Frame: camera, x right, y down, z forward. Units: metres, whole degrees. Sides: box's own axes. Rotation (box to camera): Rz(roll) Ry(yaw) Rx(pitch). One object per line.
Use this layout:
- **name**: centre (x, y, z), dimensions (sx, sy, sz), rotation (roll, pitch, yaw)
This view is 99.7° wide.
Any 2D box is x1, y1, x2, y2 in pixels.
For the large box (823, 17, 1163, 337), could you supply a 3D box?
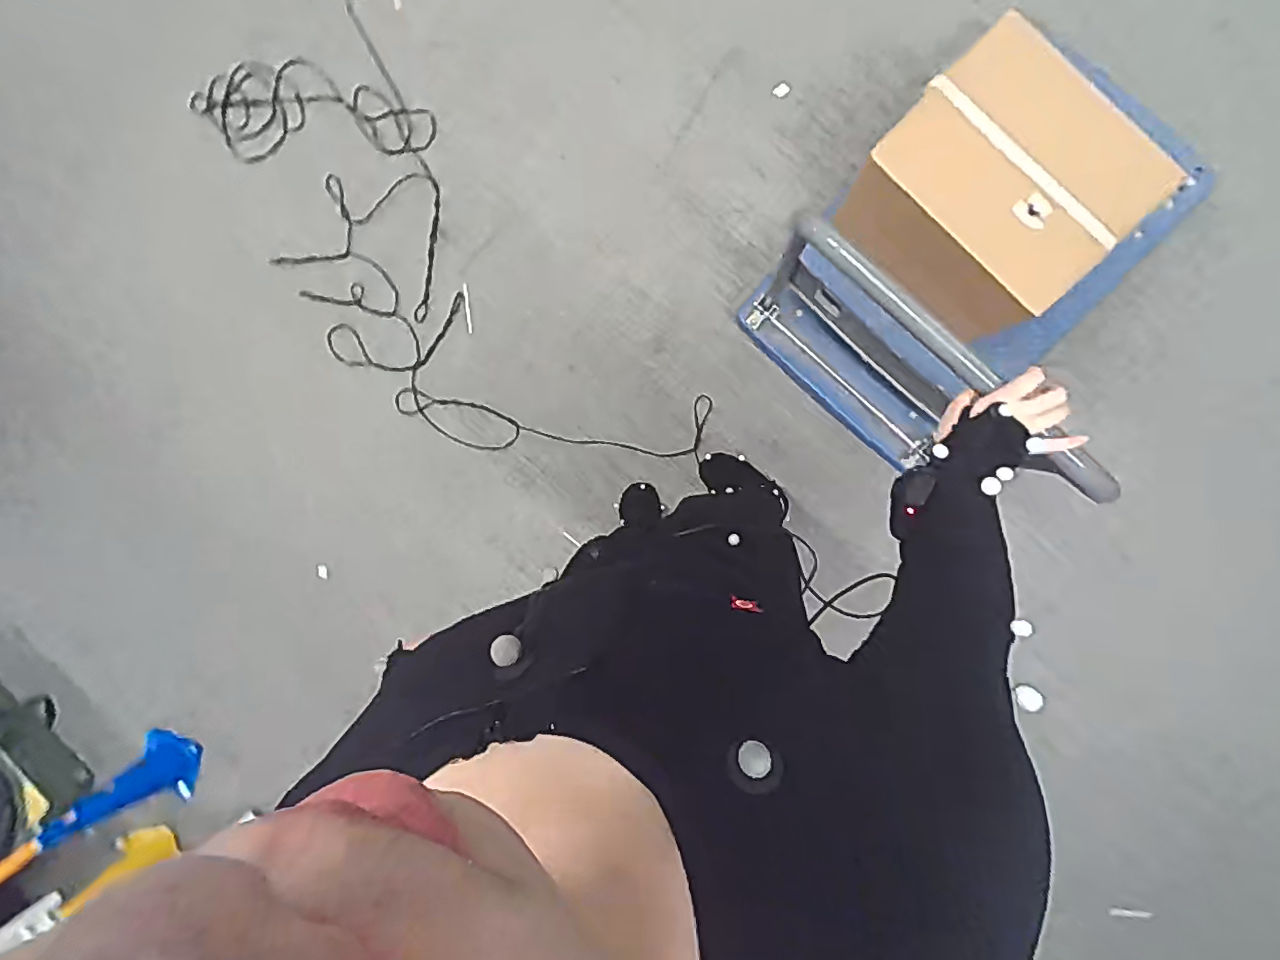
- **large box**: centre (0.646, -0.555, 1.075), dimensions (0.408, 0.320, 0.320), rotation (45, 98, 1)
